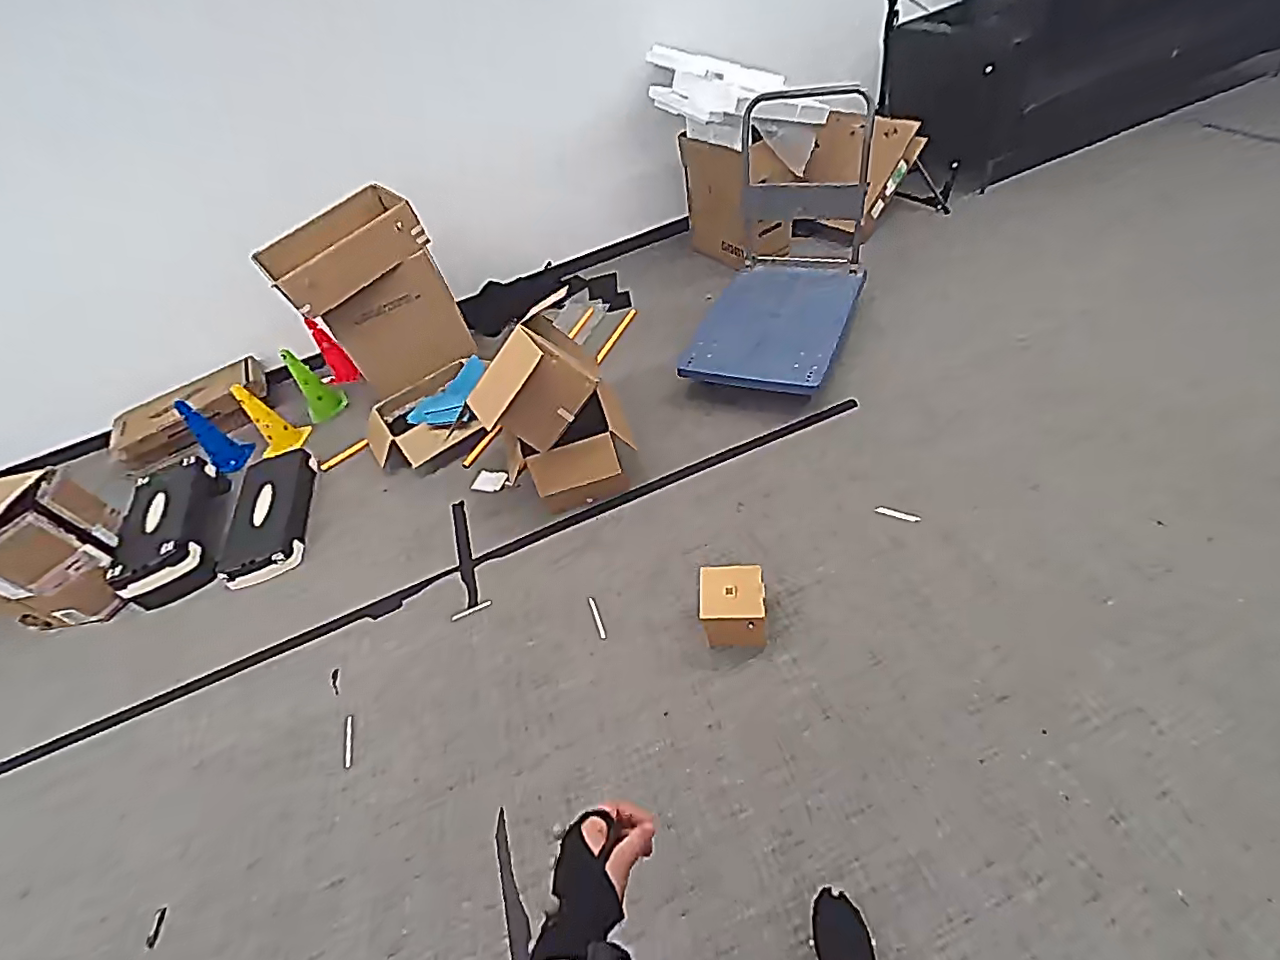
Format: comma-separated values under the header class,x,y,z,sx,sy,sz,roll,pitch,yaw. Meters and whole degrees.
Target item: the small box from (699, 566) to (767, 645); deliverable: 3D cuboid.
class,x,y,z,sx,sy,sz,roll,pitch,yaw
small box,0.266,0.363,1.547,0.179,0.176,0.168,-4,47,11
